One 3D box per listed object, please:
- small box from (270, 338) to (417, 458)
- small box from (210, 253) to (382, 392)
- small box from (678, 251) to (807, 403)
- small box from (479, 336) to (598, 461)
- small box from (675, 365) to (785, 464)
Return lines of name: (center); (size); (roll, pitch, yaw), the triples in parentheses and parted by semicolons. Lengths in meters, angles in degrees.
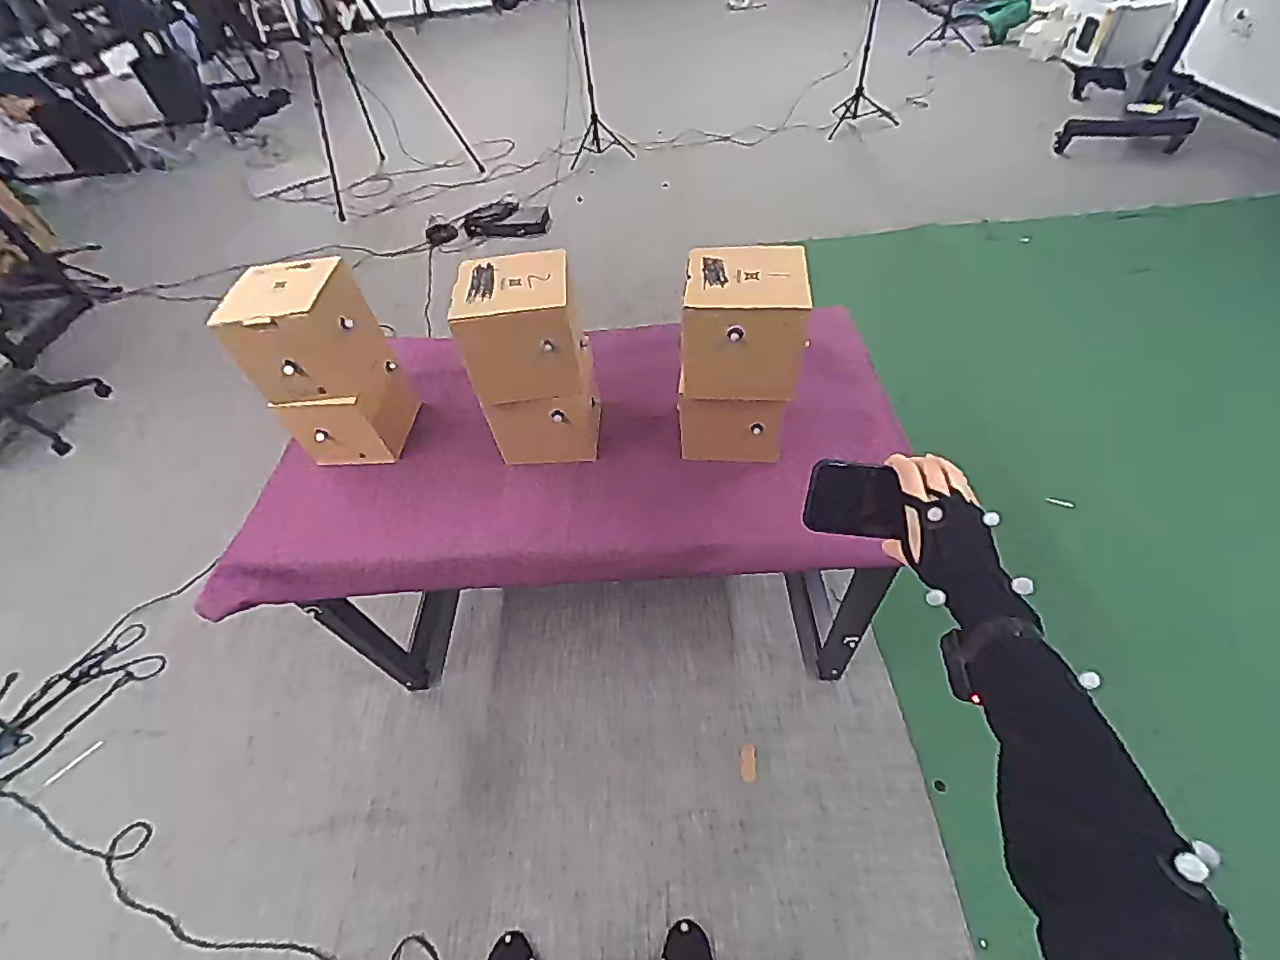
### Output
small box: (-0.565, -0.156, 1.063); (0.168, 0.176, 0.179); (-1, 51, 5)
small box: (-0.579, -0.266, 0.942); (0.168, 0.176, 0.179); (-4, 51, 2)
small box: (0.156, -0.236, 0.841); (0.179, 0.176, 0.168); (4, 51, 8)
small box: (-0.177, -0.149, 1.015); (0.179, 0.176, 0.168); (-1, 51, 5)
small box: (0.162, -0.144, 0.978); (0.179, 0.176, 0.168); (3, 51, 10)
